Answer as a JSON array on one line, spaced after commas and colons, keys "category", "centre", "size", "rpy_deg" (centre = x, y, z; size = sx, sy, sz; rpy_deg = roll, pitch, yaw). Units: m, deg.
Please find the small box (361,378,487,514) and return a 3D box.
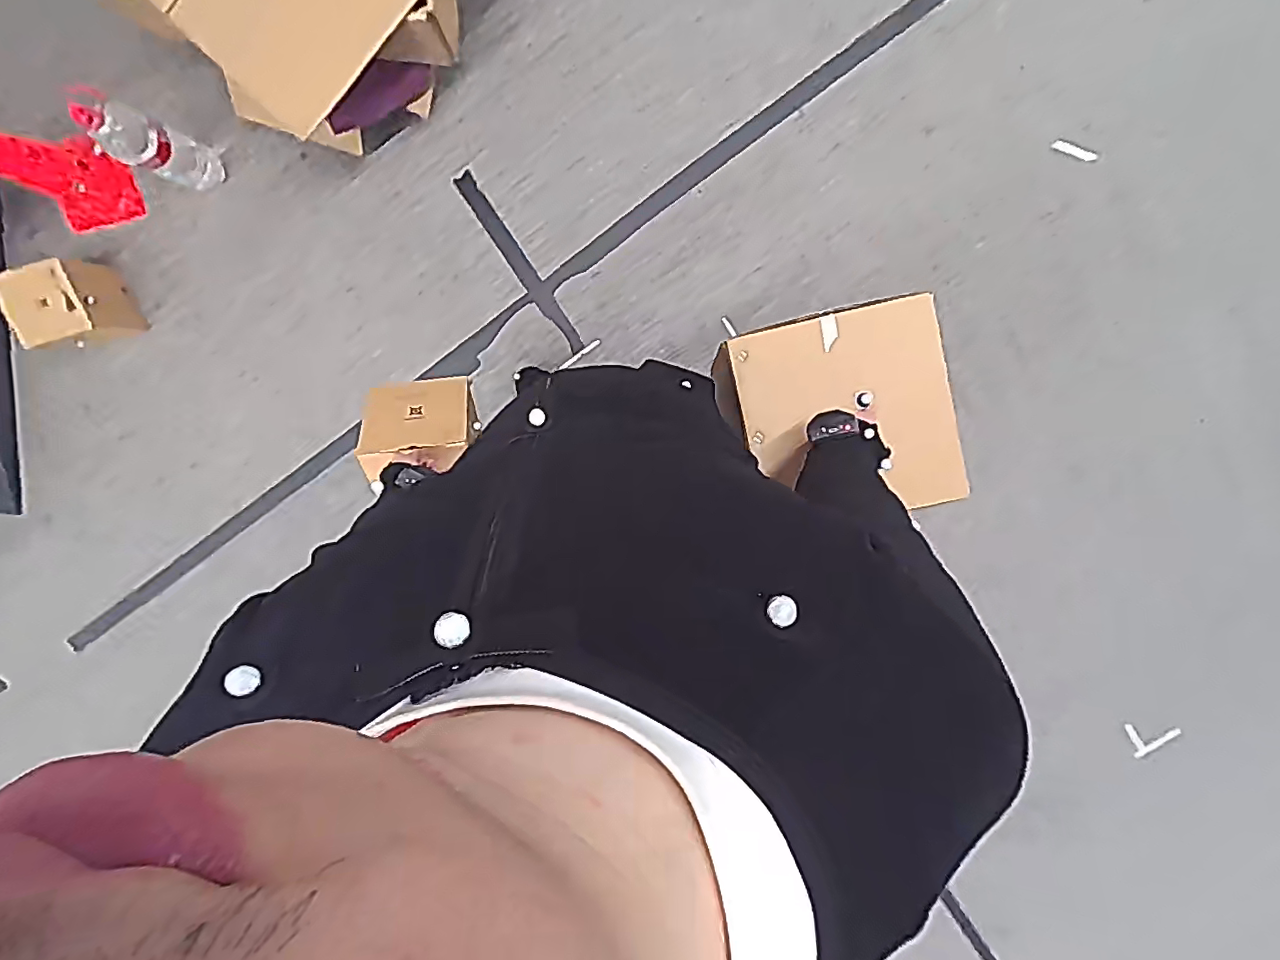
[{"category": "small box", "centre": [-0.365, -0.054, 0.950], "size": [0.168, 0.179, 0.176], "rpy_deg": [-7, 138, -9]}]
